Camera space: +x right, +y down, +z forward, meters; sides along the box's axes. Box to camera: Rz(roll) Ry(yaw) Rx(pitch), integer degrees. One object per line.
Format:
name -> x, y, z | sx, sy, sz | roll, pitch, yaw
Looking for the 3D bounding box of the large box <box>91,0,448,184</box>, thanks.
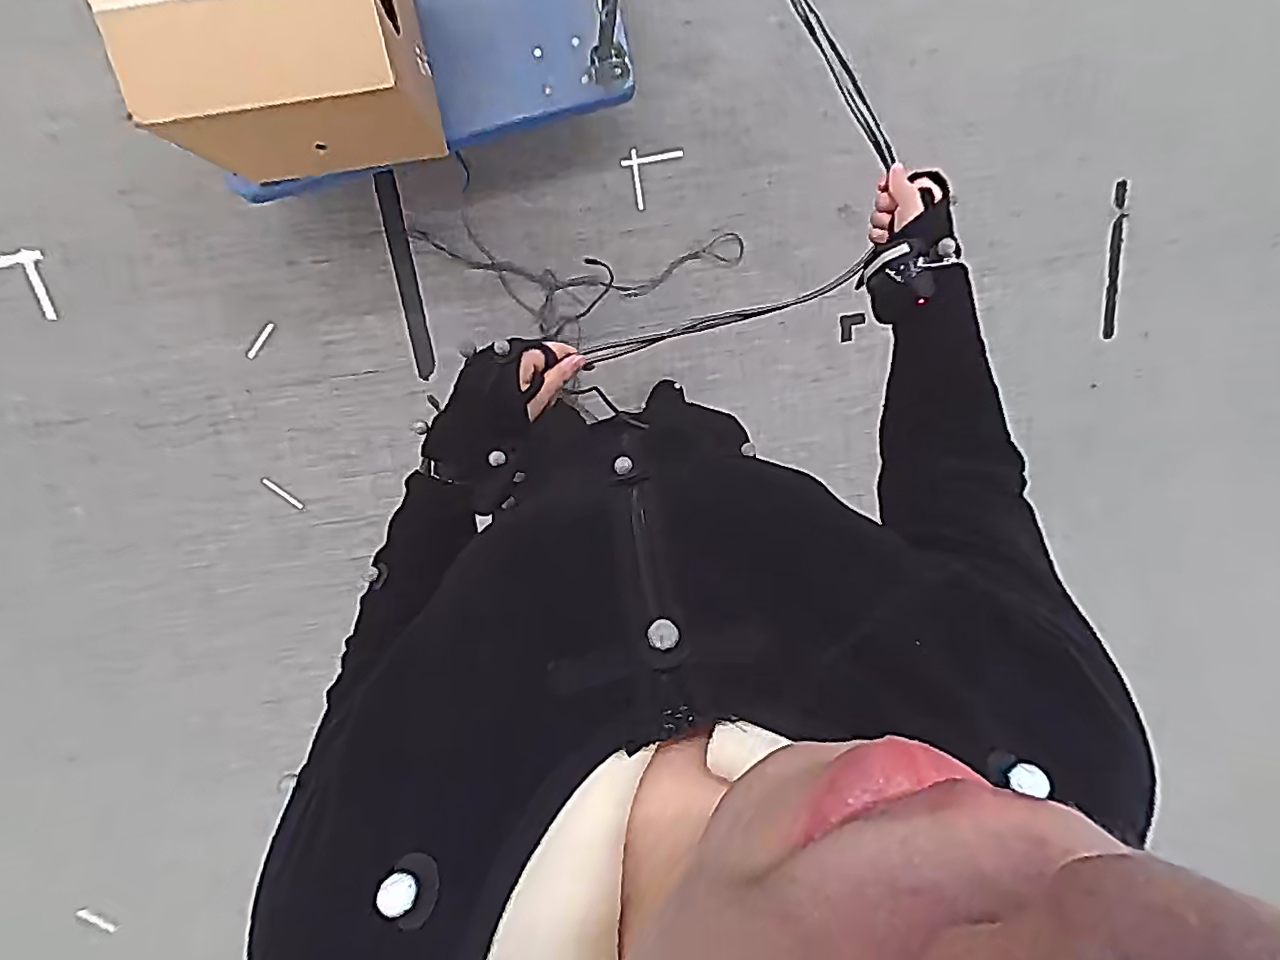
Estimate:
large box -> -0.604, -0.749, 0.935 | 0.408, 0.320, 0.320 | -10, 104, -1
